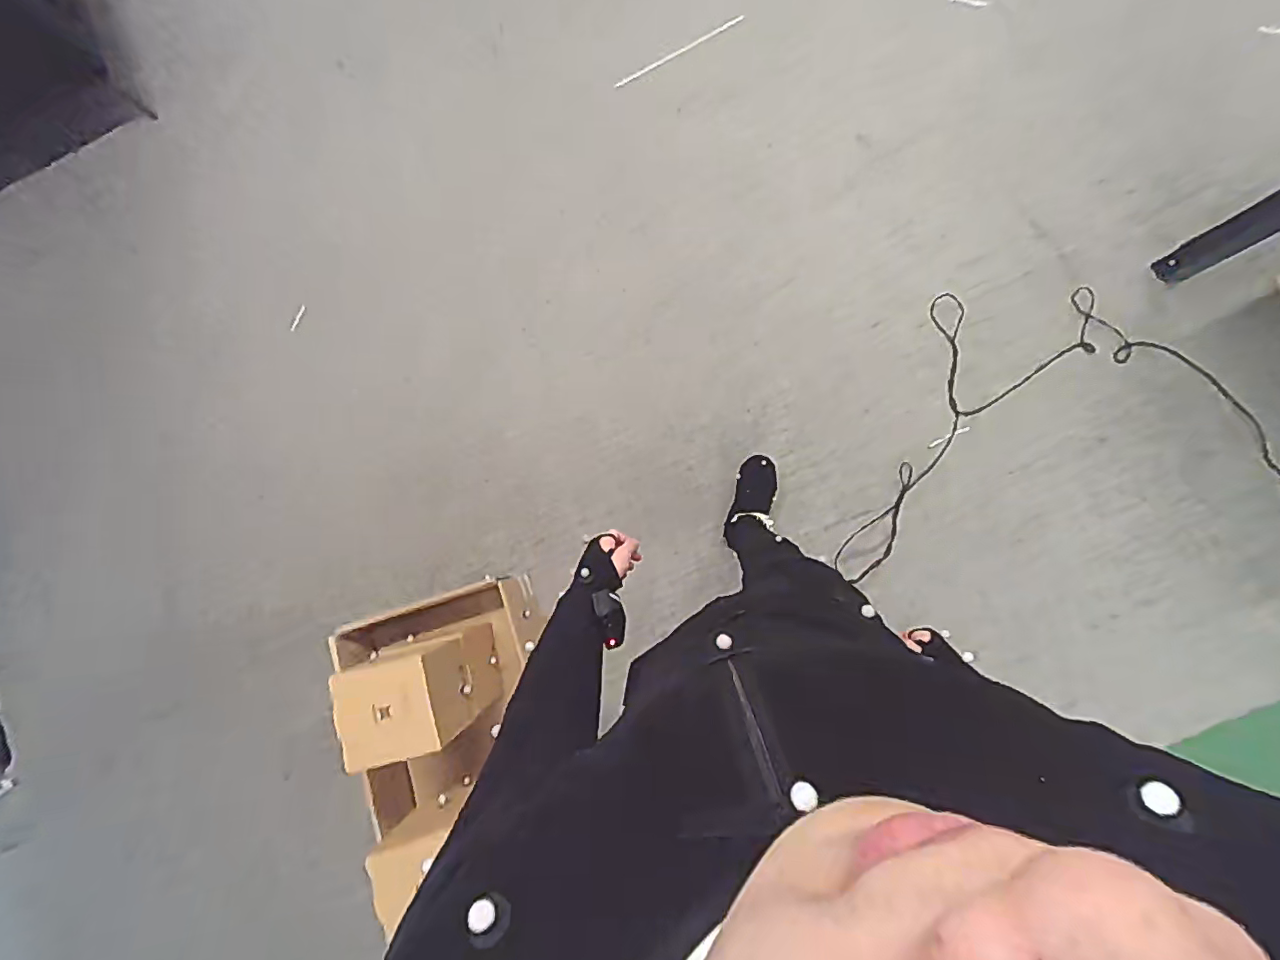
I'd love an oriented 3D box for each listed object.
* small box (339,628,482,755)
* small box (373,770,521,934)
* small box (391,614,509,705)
[{"bbox_3d":[-0.429,0.394,1.030,0.179,0.176,0.168,-15,84,5],"label":"small box"},{"bbox_3d":[-0.346,0.671,0.995,0.179,0.176,0.168,-21,84,5],"label":"small box"},{"bbox_3d":[-0.412,0.403,1.192,0.179,0.176,0.168,-14,84,5],"label":"small box"}]
